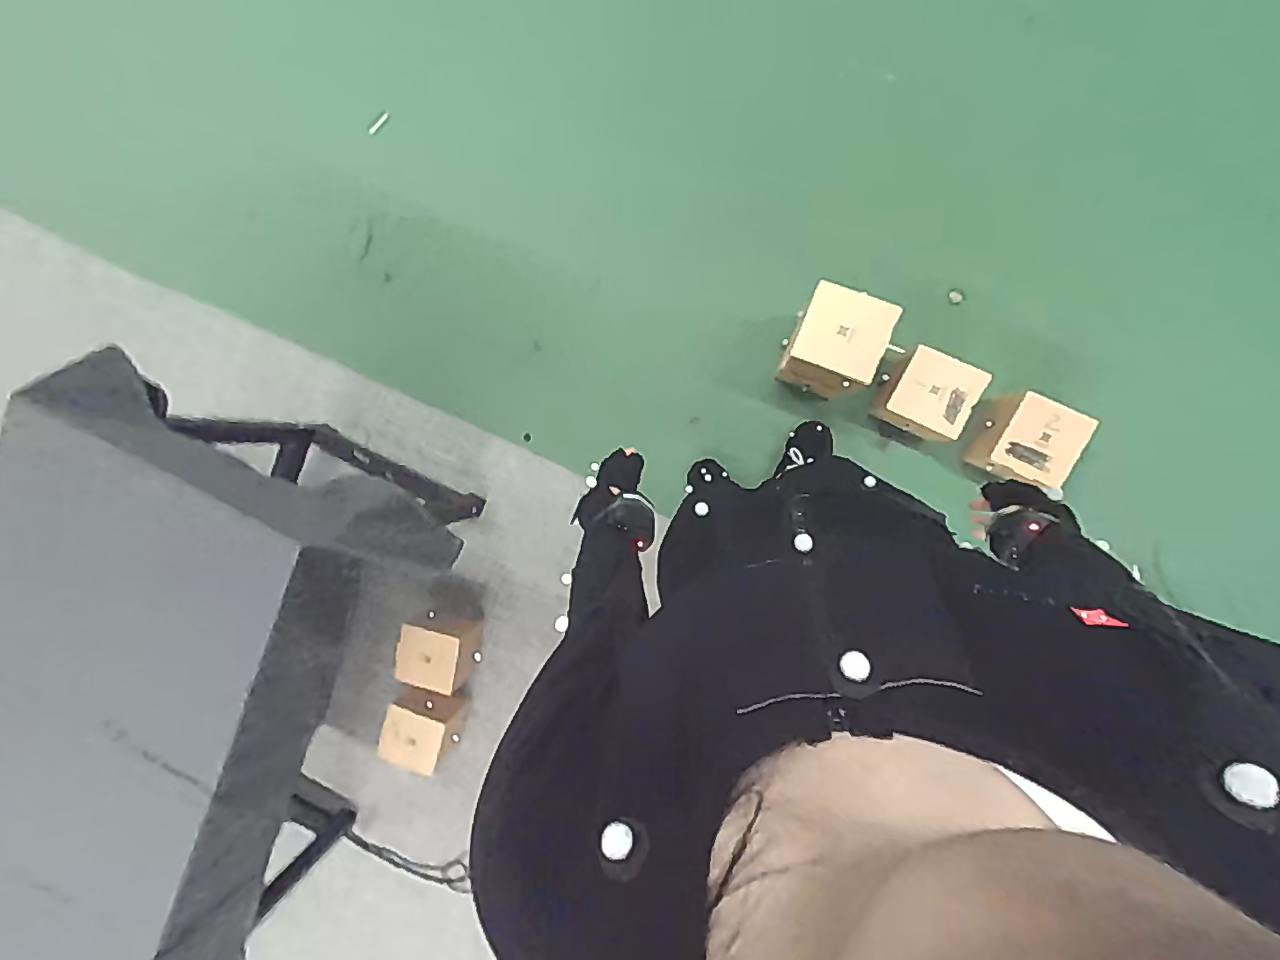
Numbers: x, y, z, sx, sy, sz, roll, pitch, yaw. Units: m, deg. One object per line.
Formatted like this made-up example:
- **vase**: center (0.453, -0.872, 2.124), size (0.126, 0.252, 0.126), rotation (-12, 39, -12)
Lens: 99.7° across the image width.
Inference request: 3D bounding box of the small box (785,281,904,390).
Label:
- **small box**: center (0.432, -0.305, 1.179), size (0.179, 0.176, 0.168), rotation (23, 97, 6)

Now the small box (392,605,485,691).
- **small box**: center (-0.574, 0.472, 1.553), size (0.179, 0.176, 0.168), rotation (13, 96, 8)

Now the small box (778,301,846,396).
- **small box**: center (0.453, -0.318, 1.340), size (0.168, 0.176, 0.179), rotation (24, 98, 6)
